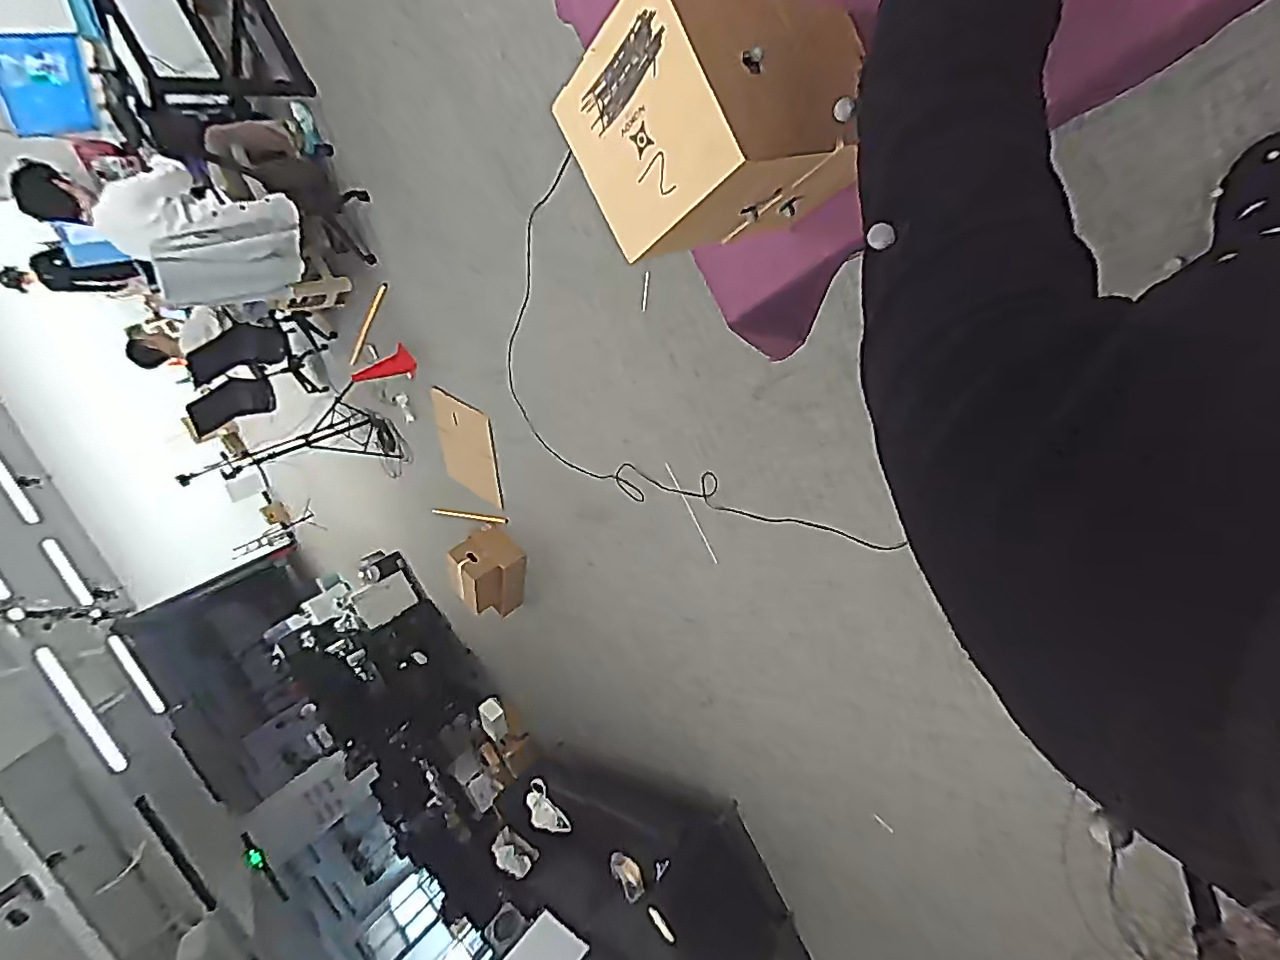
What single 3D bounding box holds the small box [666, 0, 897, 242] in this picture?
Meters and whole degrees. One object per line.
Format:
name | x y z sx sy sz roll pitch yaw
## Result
small box | 0.171 -0.417 0.652 0.179 0.176 0.168 -21 99 51
